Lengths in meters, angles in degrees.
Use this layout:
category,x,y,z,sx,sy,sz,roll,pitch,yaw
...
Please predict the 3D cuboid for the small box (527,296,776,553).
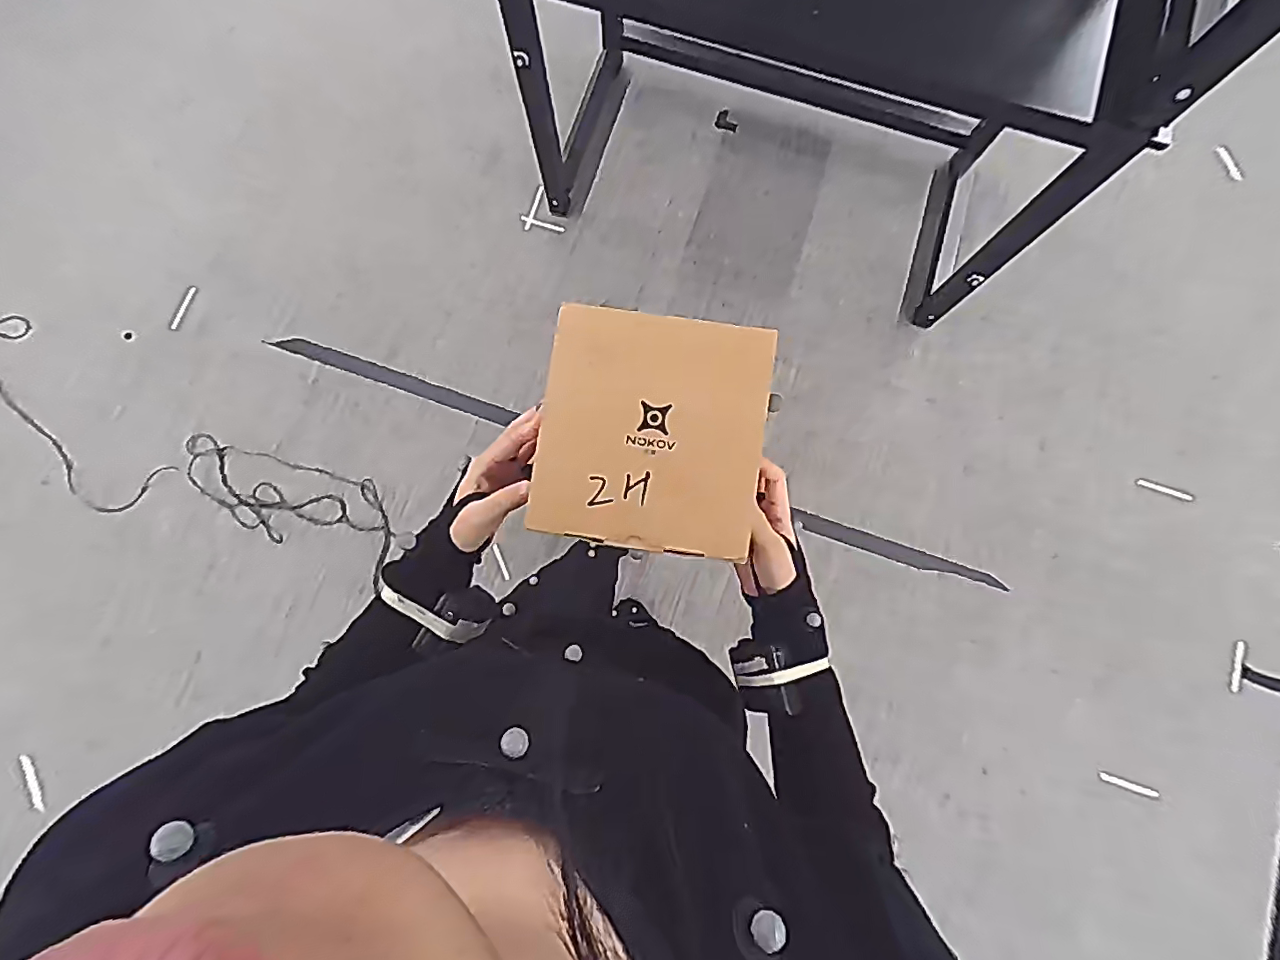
category,x,y,z,sx,sy,sz,roll,pitch,yaw
small box,0.012,-0.036,0.483,0.168,0.176,0.179,9,85,3
